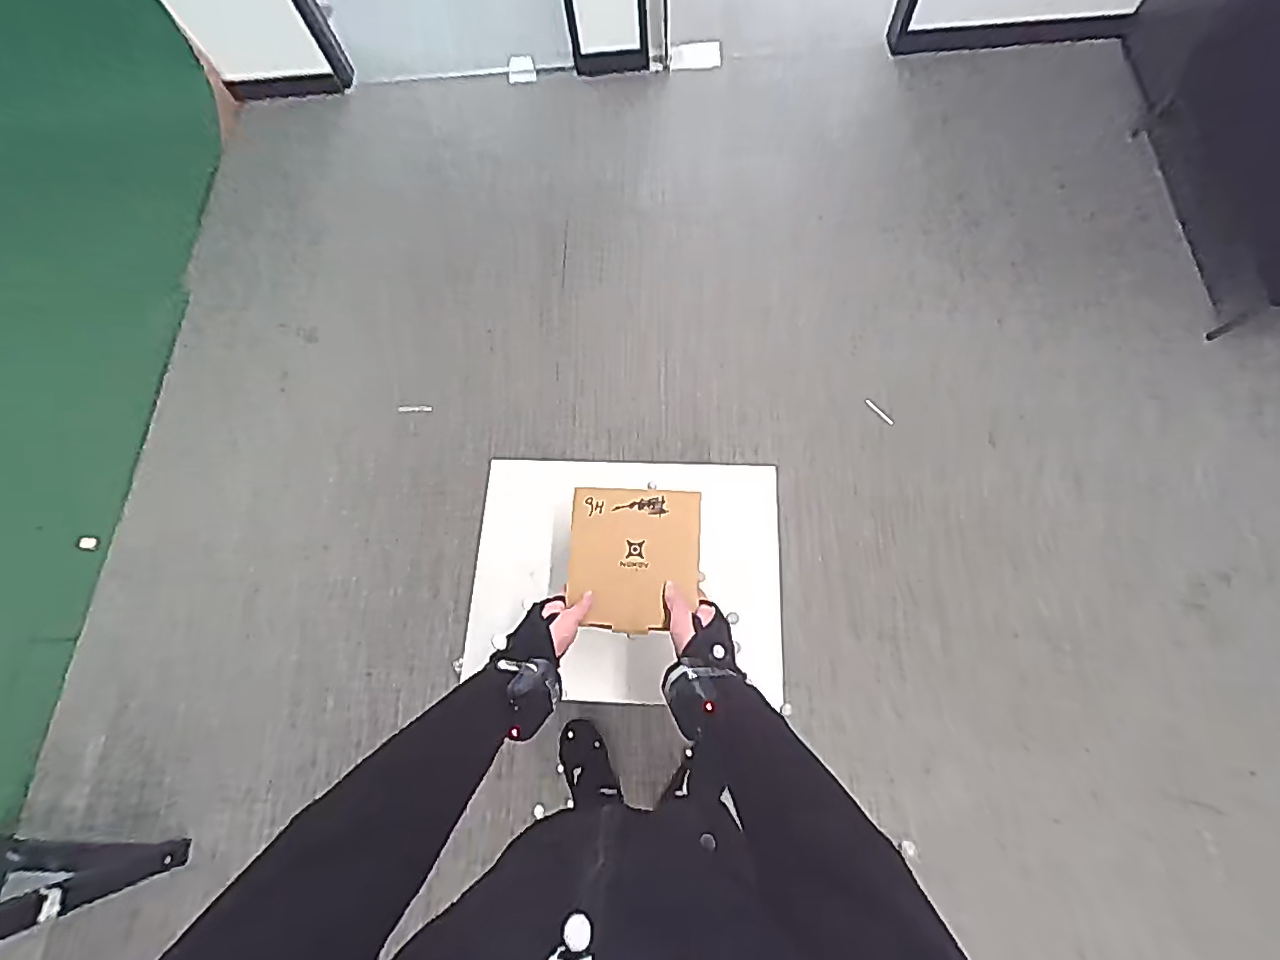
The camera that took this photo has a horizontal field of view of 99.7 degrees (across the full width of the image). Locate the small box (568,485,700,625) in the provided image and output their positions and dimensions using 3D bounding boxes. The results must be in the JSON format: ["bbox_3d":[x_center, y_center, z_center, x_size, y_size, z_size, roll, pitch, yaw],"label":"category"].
[{"bbox_3d":[-0.002,0.110,0.759,0.168,0.176,0.179,0,76,2],"label":"small box"}]
